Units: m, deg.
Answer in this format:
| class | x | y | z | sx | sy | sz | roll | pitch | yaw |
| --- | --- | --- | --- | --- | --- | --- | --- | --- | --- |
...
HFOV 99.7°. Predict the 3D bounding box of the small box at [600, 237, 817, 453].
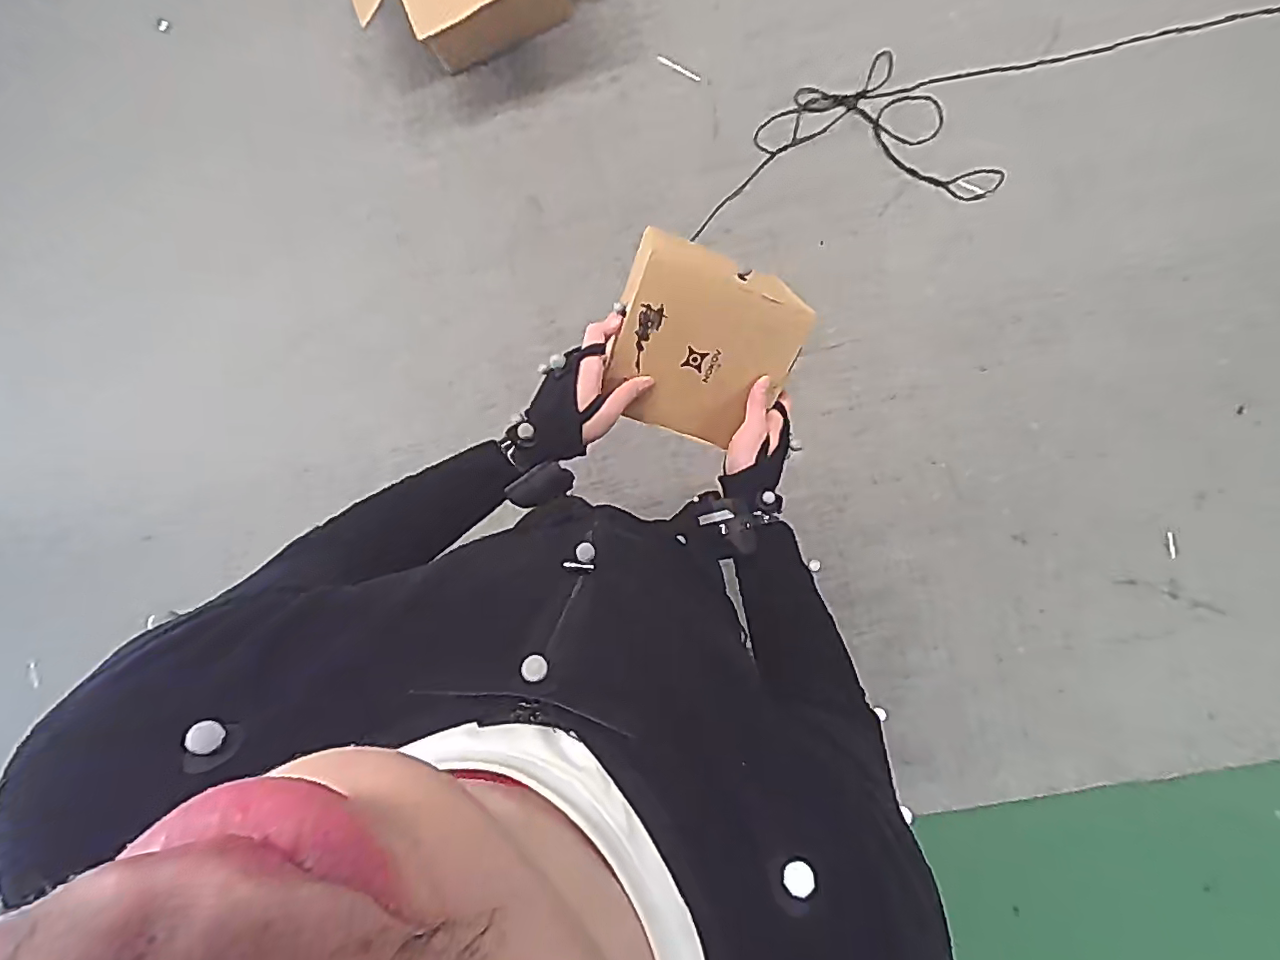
| class | x | y | z | sx | sy | sz | roll | pitch | yaw |
| --- | --- | --- | --- | --- | --- | --- | --- | --- | --- |
| small box | 0.064 | -0.160 | 0.615 | 0.179 | 0.176 | 0.168 | 17 | 119 | -11 |
